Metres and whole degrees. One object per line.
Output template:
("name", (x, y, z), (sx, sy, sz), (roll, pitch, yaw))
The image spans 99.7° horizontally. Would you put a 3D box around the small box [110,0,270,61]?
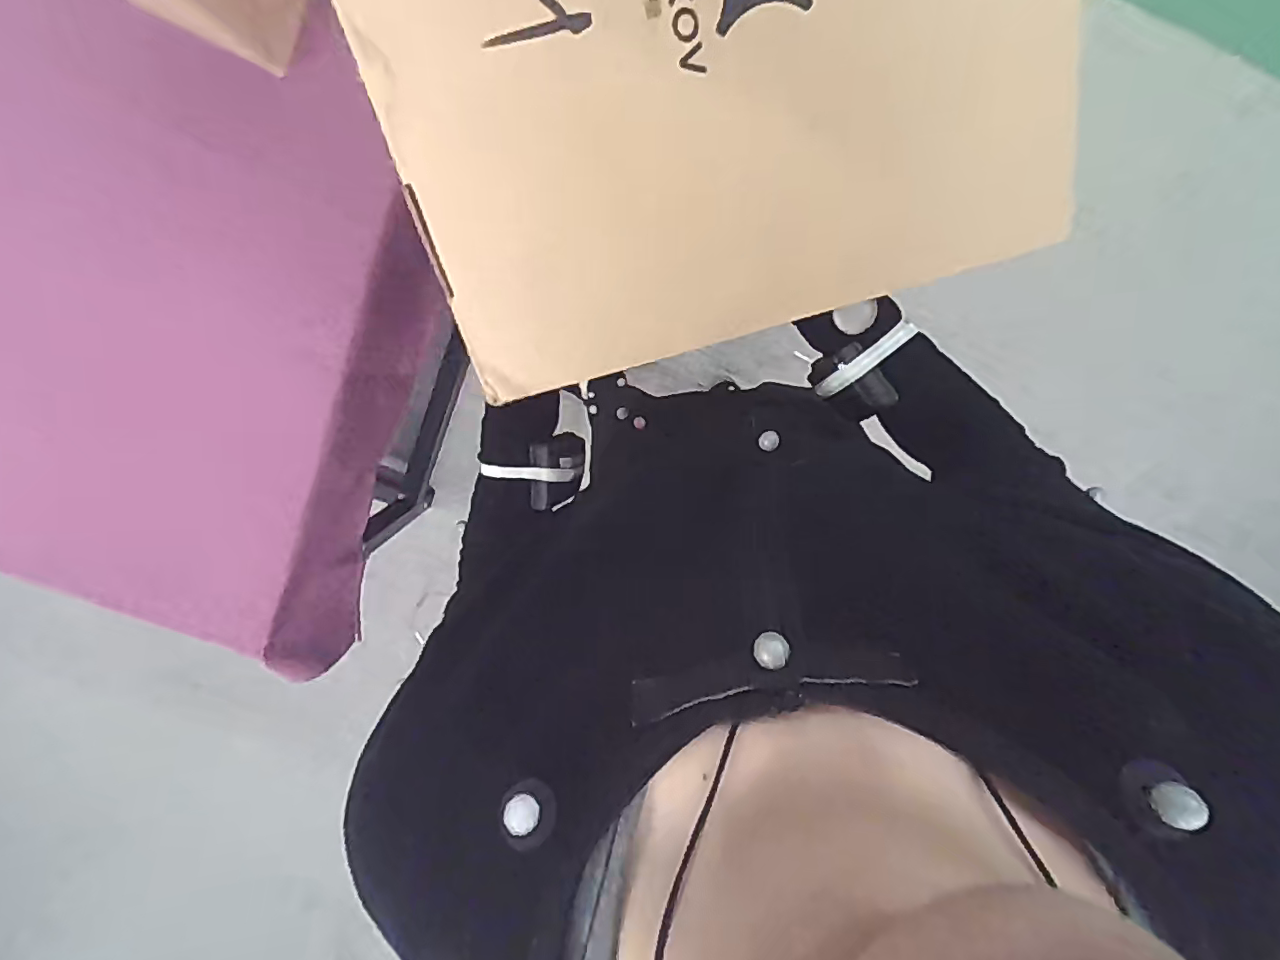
("small box", (-0.487, -0.558, 0.526), (0.179, 0.176, 0.168), (22, 103, -5))
